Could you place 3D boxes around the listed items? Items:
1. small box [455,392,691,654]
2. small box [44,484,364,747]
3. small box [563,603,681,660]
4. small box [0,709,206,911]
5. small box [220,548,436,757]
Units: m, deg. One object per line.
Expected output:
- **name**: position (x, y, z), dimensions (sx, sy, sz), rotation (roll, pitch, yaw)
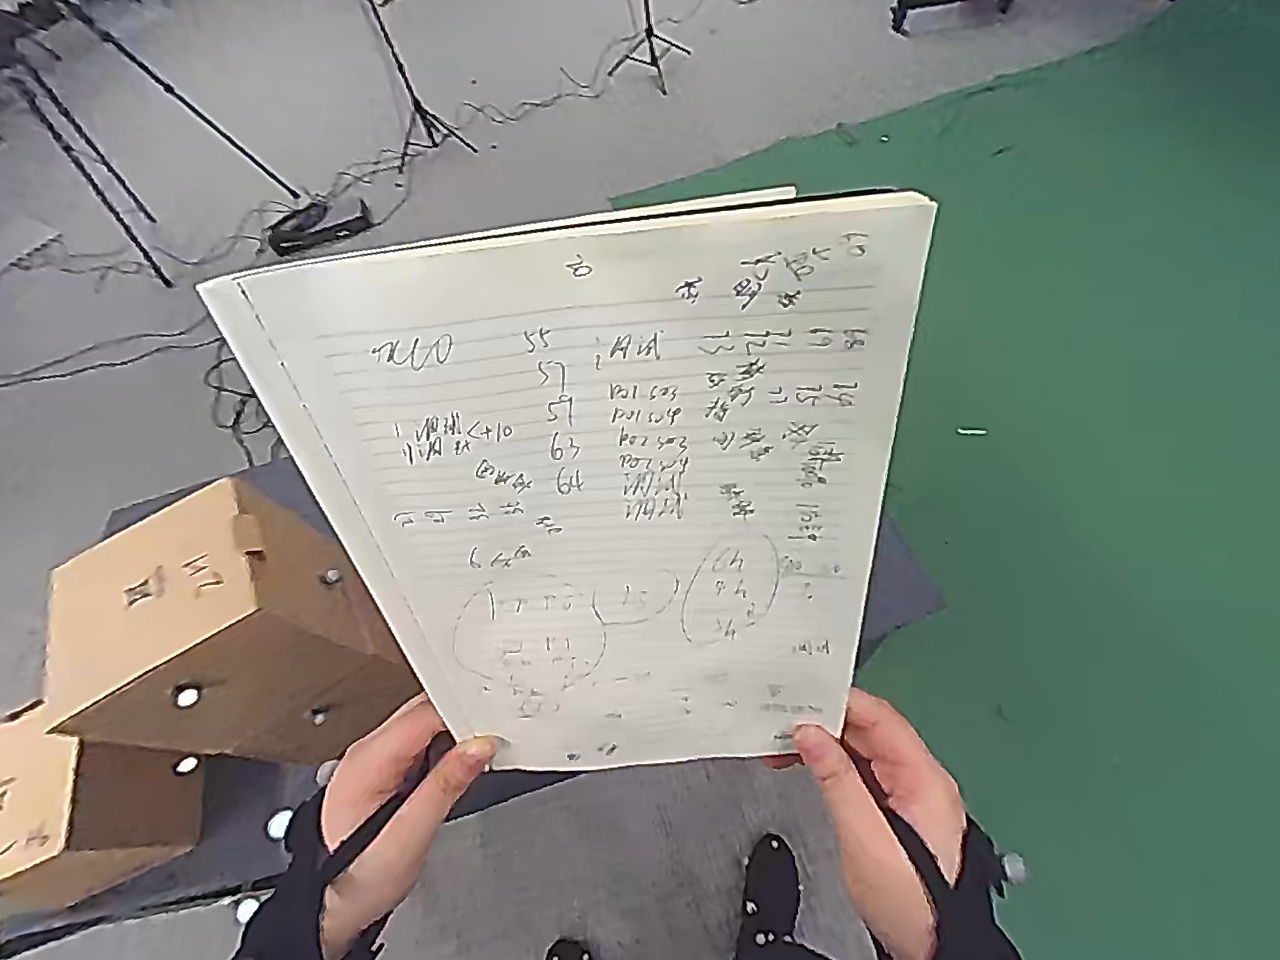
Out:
- **small box**: position (-0.056, 0.049, 0.535), dimensions (0.179, 0.176, 0.168), rotation (-21, 57, -2)
- **small box**: position (-0.421, 0.143, 0.544), dimensions (0.179, 0.176, 0.168), rotation (-32, 59, -10)
- **small box**: position (-0.041, 0.115, 0.685), dimensions (0.168, 0.176, 0.179), rotation (-7, 58, 7)
- **small box**: position (-0.656, 0.376, 0.636), dimensions (0.168, 0.176, 0.179), rotation (-24, 58, -6)
- **small box**: position (-0.397, 0.225, 0.685), dimensions (0.179, 0.176, 0.168), rotation (-34, 60, -11)
